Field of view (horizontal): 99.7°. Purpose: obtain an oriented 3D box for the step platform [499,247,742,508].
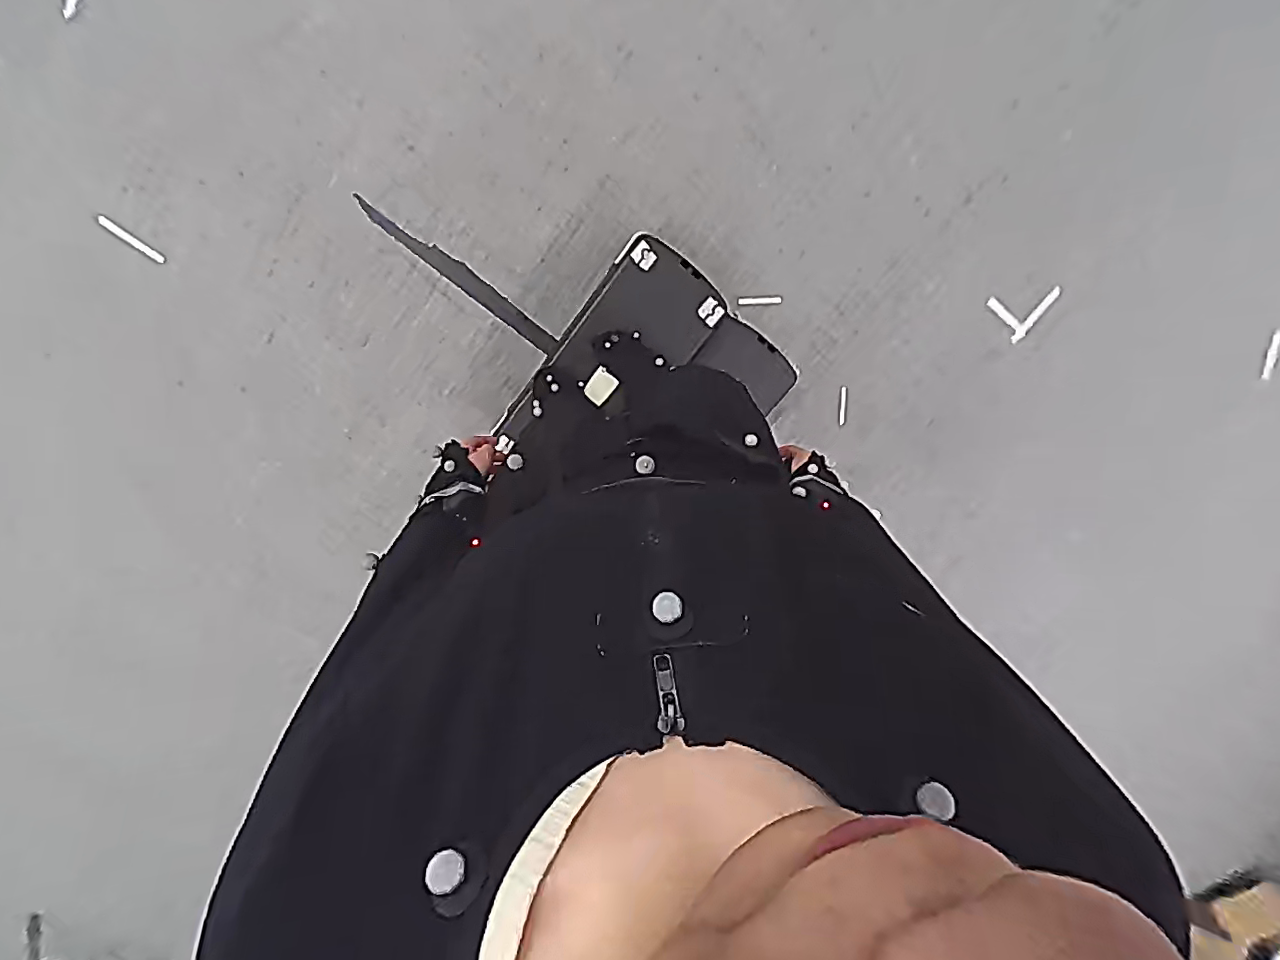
[{"bbox_3d":[-0.059,-0.253,1.403,0.286,0.204,0.684,40,100,-15],"label":"step platform"}]
